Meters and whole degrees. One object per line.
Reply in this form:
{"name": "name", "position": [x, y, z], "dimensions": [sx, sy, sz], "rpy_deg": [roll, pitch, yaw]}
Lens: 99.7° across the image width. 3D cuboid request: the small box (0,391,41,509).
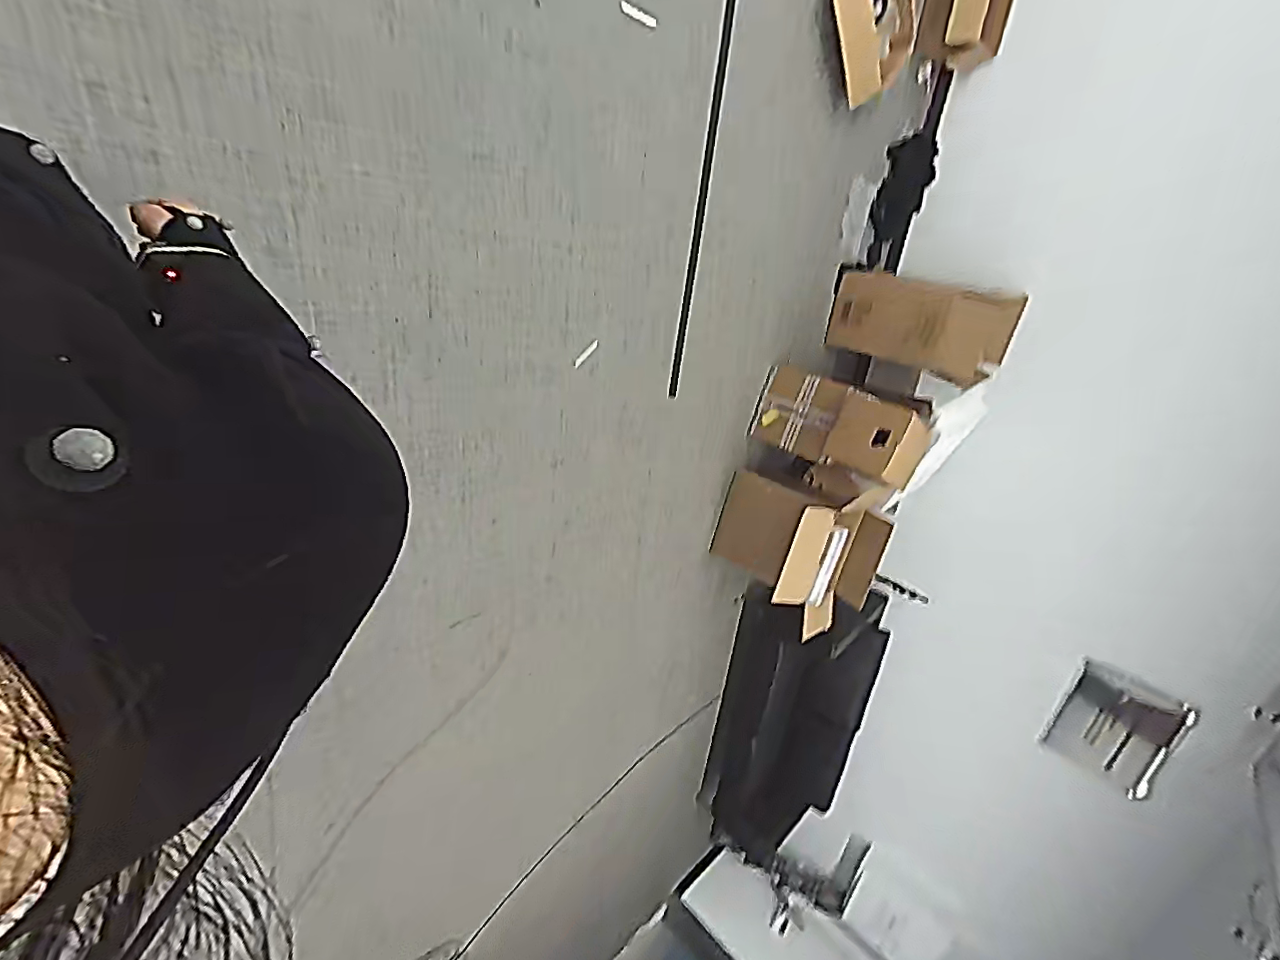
{"name": "small box", "position": [-1.139, -0.049, 0.890], "dimensions": [0.168, 0.176, 0.179], "rpy_deg": [-23, 128, -41]}
